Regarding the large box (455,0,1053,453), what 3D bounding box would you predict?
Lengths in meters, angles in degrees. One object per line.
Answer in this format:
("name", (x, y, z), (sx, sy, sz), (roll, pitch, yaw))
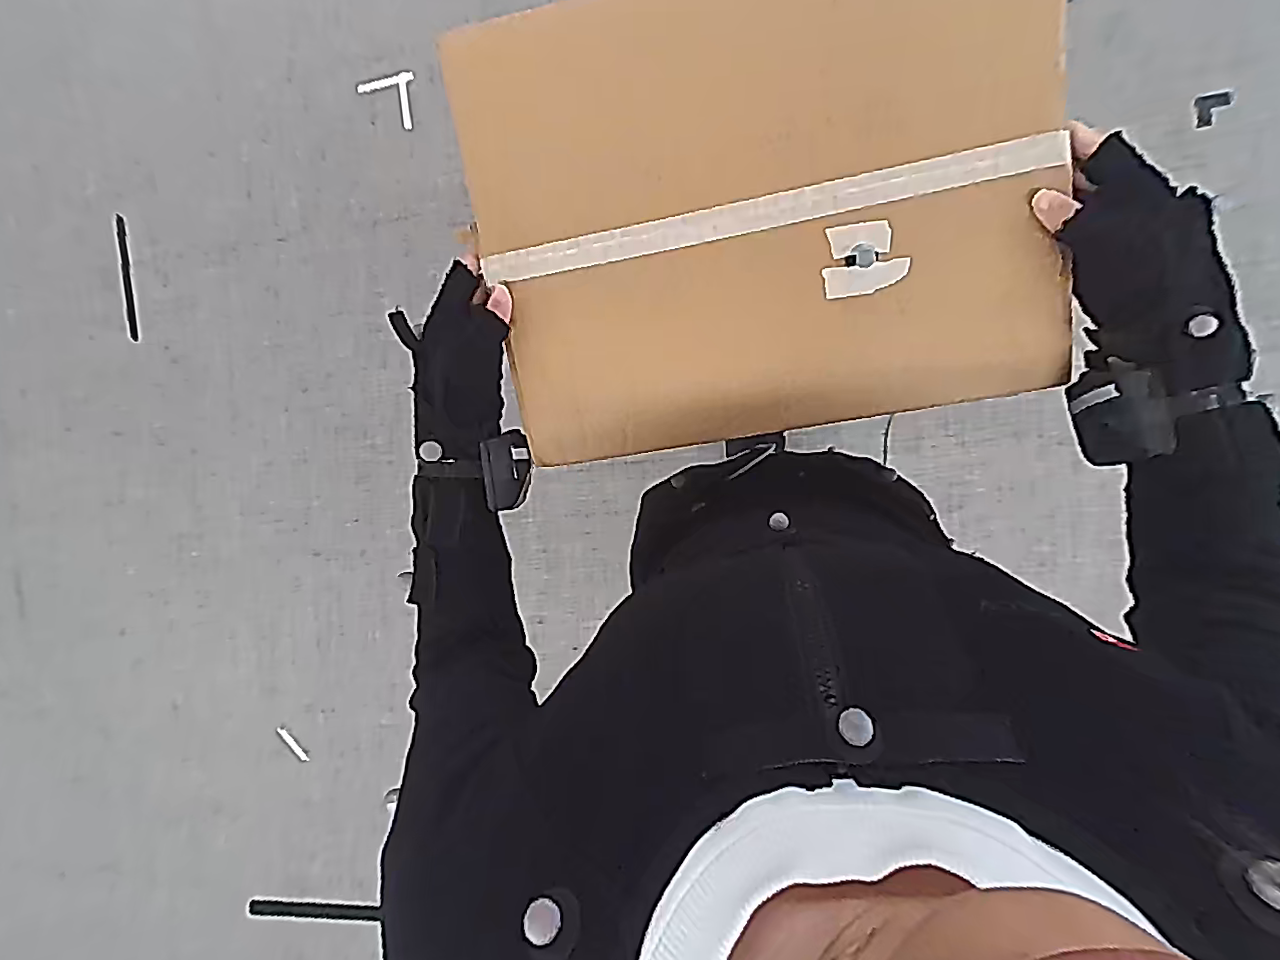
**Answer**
("large box", (0.097, -0.234, 0.540), (0.408, 0.320, 0.320), (-9, 103, 7))
